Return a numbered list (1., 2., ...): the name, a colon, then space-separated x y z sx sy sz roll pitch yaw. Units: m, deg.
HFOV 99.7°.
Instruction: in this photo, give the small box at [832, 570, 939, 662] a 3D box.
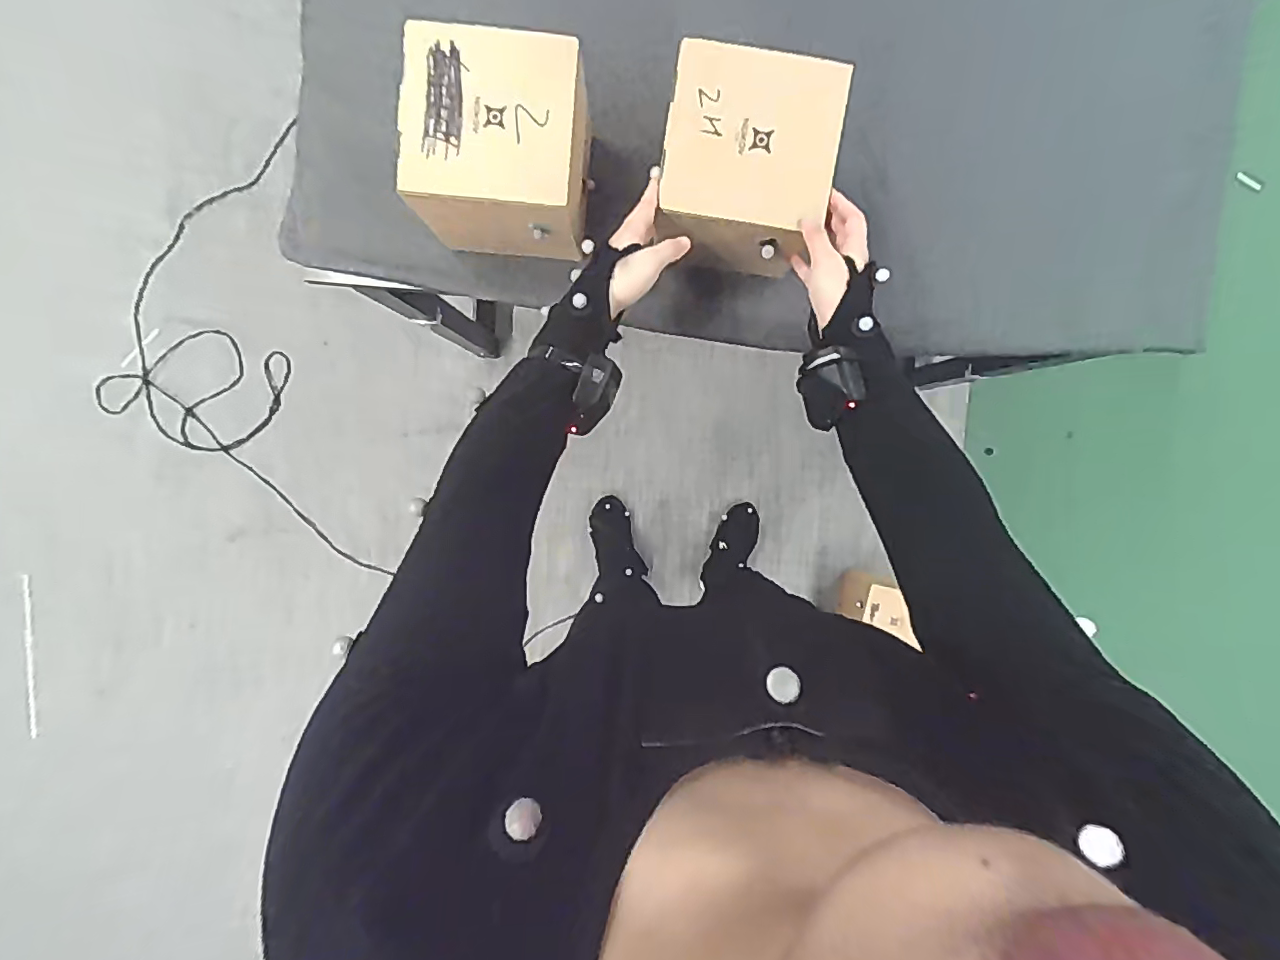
1. small box: 0.629 0.345 1.404 0.179 0.176 0.168 14 95 -1
